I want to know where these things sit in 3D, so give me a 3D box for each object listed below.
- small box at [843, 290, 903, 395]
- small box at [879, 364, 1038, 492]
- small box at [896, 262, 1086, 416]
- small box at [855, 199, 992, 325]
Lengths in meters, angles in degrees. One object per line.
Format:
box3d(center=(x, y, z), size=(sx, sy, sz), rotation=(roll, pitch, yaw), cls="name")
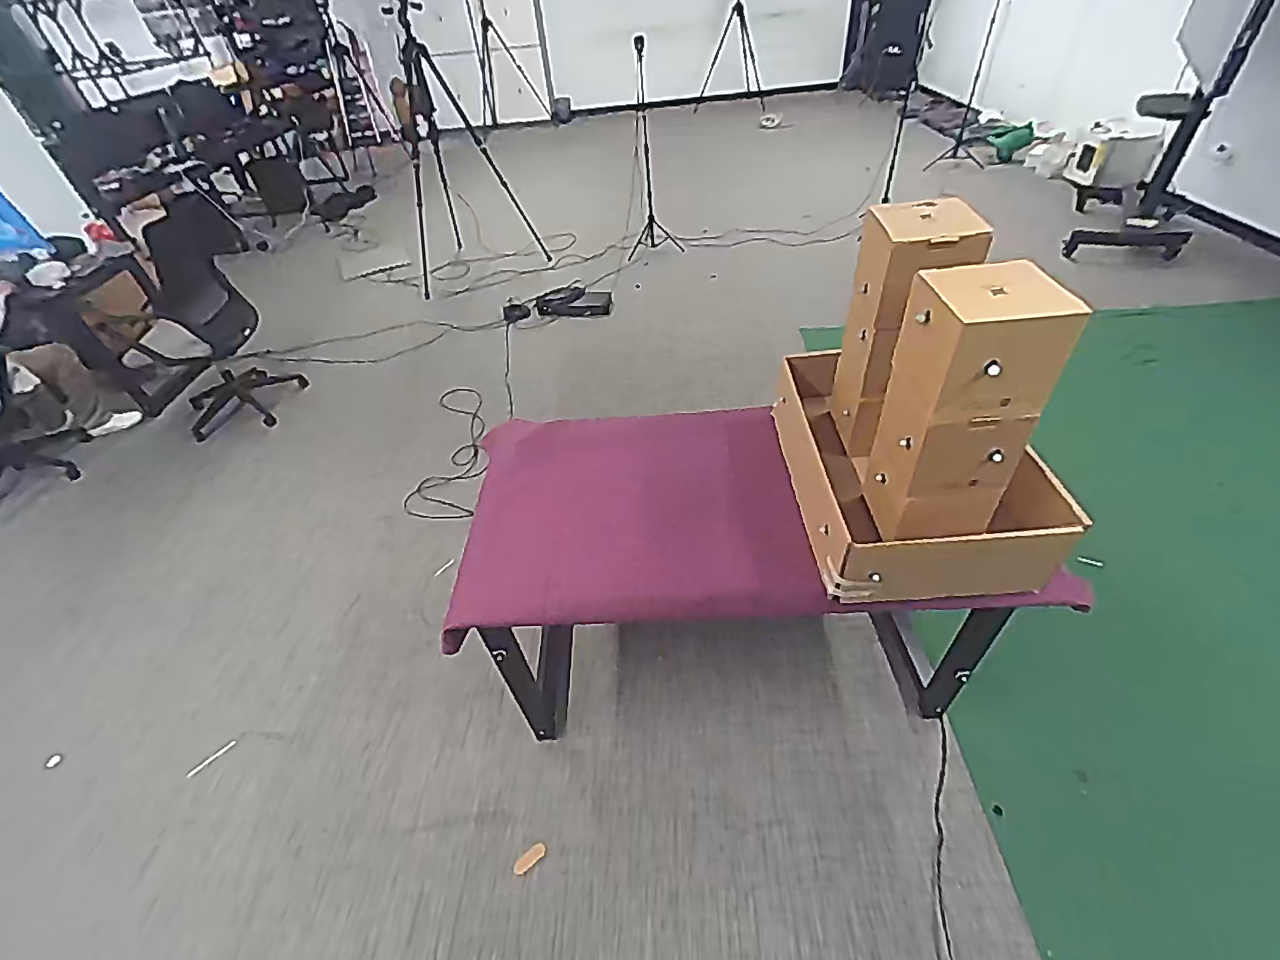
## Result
box3d(center=(0.541, -0.292, 1.142), size=(0.168, 0.176, 0.179), rotation=(-2, 45, 5), cls="small box")
box3d(center=(0.533, -0.092, 0.936), size=(0.168, 0.176, 0.179), rotation=(-4, 42, 5), cls="small box")
box3d(center=(0.516, -0.210, 0.827), size=(0.168, 0.176, 0.179), rotation=(-4, 42, 4), cls="small box")
box3d(center=(0.522, -0.406, 1.026), size=(0.168, 0.176, 0.179), rotation=(-2, 46, 6), cls="small box")
